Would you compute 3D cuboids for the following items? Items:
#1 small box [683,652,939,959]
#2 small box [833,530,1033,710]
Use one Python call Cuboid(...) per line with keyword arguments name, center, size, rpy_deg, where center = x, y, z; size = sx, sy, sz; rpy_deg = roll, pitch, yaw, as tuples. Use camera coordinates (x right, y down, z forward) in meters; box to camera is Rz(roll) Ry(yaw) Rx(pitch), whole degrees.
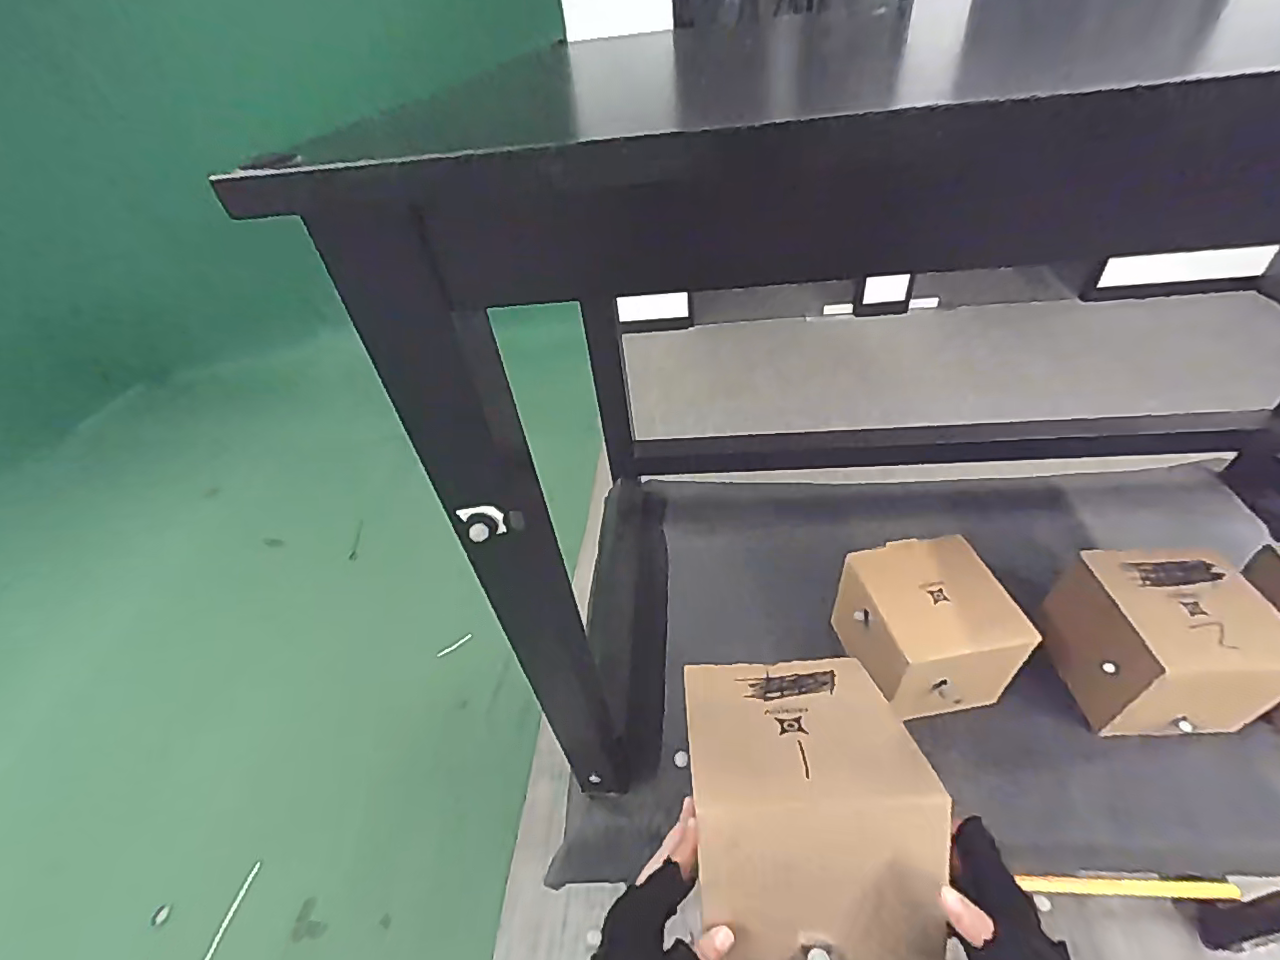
Cuboid(name="small box", center=(0.122, 0.265, 0.450), size=(0.168, 0.176, 0.179), rpy_deg=(-4, 12, 4))
Cuboid(name="small box", center=(0.386, 0.199, 0.752), size=(0.168, 0.176, 0.179), rpy_deg=(-9, 42, -1))
